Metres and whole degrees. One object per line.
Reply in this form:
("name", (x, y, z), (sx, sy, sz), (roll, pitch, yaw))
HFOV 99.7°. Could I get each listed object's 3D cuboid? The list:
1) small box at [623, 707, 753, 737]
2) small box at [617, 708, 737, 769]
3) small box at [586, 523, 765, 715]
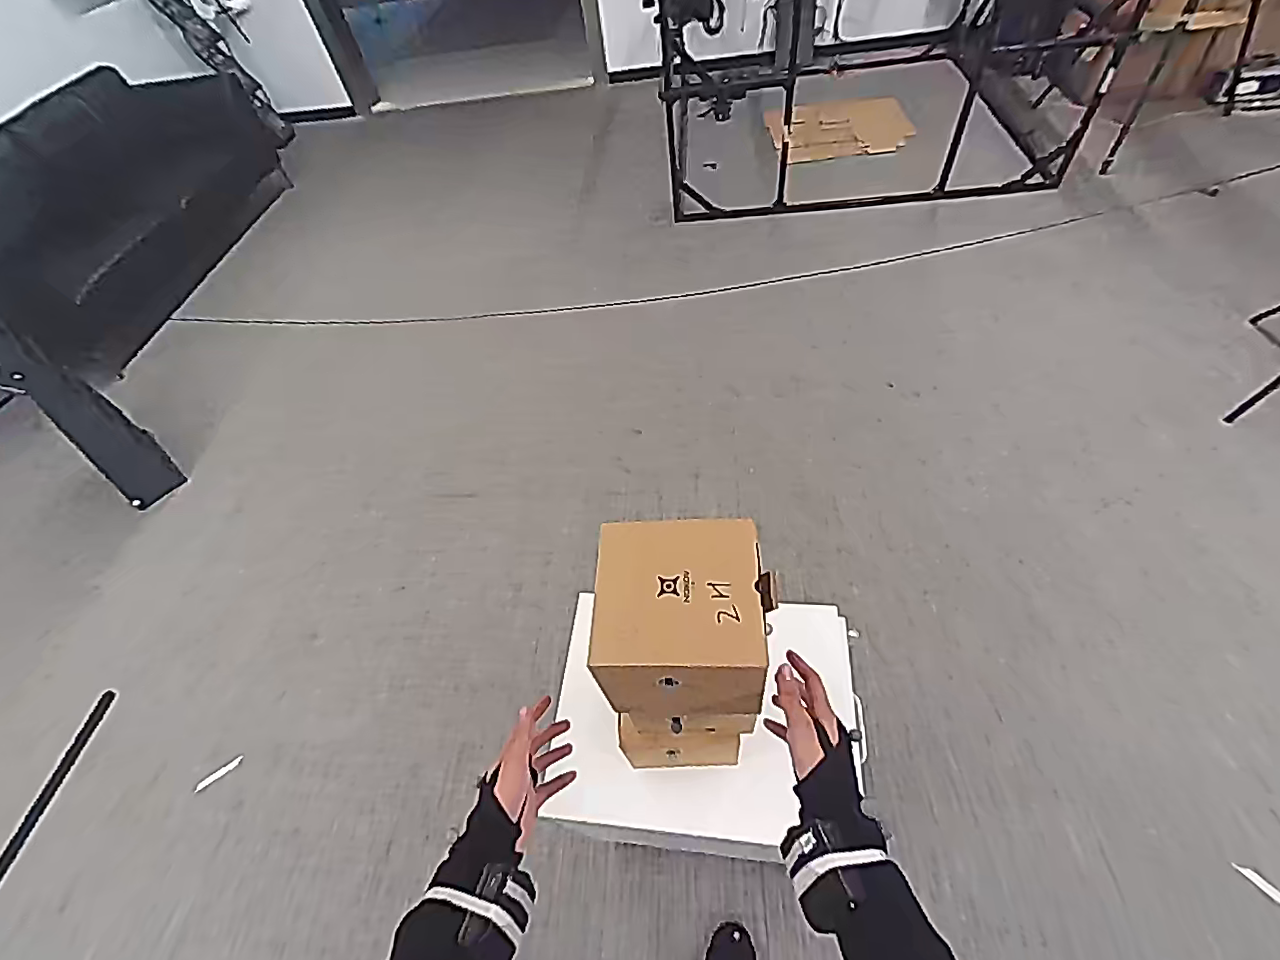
("small box", (0.069, 0.254, 0.763), (0.168, 0.176, 0.179), (-4, 51, 5))
("small box", (0.062, 0.367, 0.884), (0.179, 0.176, 0.168), (-4, 52, 4))
("small box", (0.047, 0.164, 0.626), (0.179, 0.176, 0.168), (-2, 52, 7))
